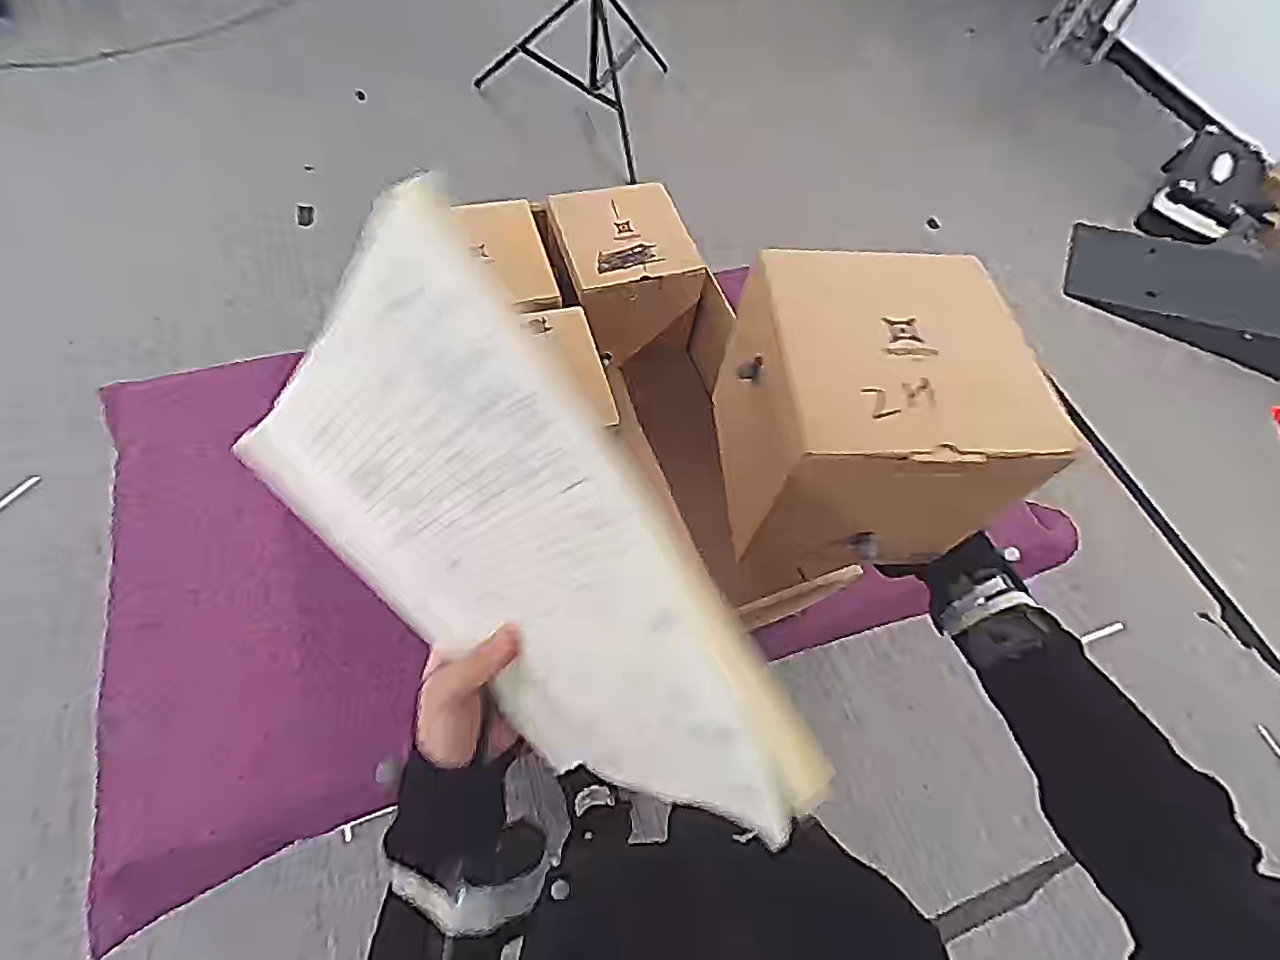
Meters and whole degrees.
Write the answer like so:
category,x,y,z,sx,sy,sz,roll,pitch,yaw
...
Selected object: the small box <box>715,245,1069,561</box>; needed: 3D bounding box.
category,x,y,z,sx,sy,sz,roll,pitch,yaw
small box,0.156,-0.051,0.413,0.168,0.176,0.179,-1,60,-3
